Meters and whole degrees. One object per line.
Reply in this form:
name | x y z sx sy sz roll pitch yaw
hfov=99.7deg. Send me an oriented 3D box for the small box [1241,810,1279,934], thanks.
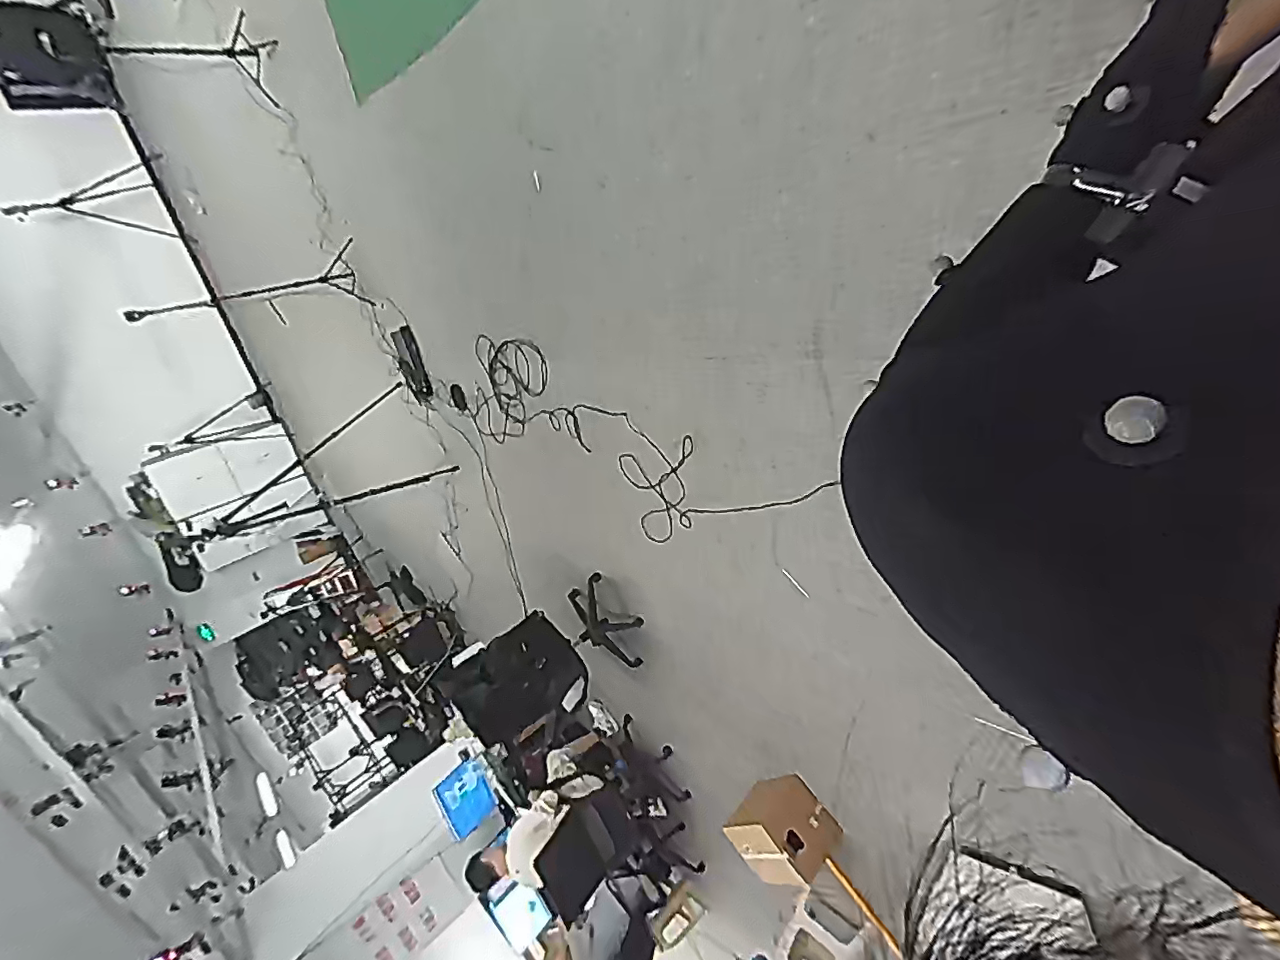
small box | 1.348 0.809 1.085 0.179 0.176 0.168 6 120 47
